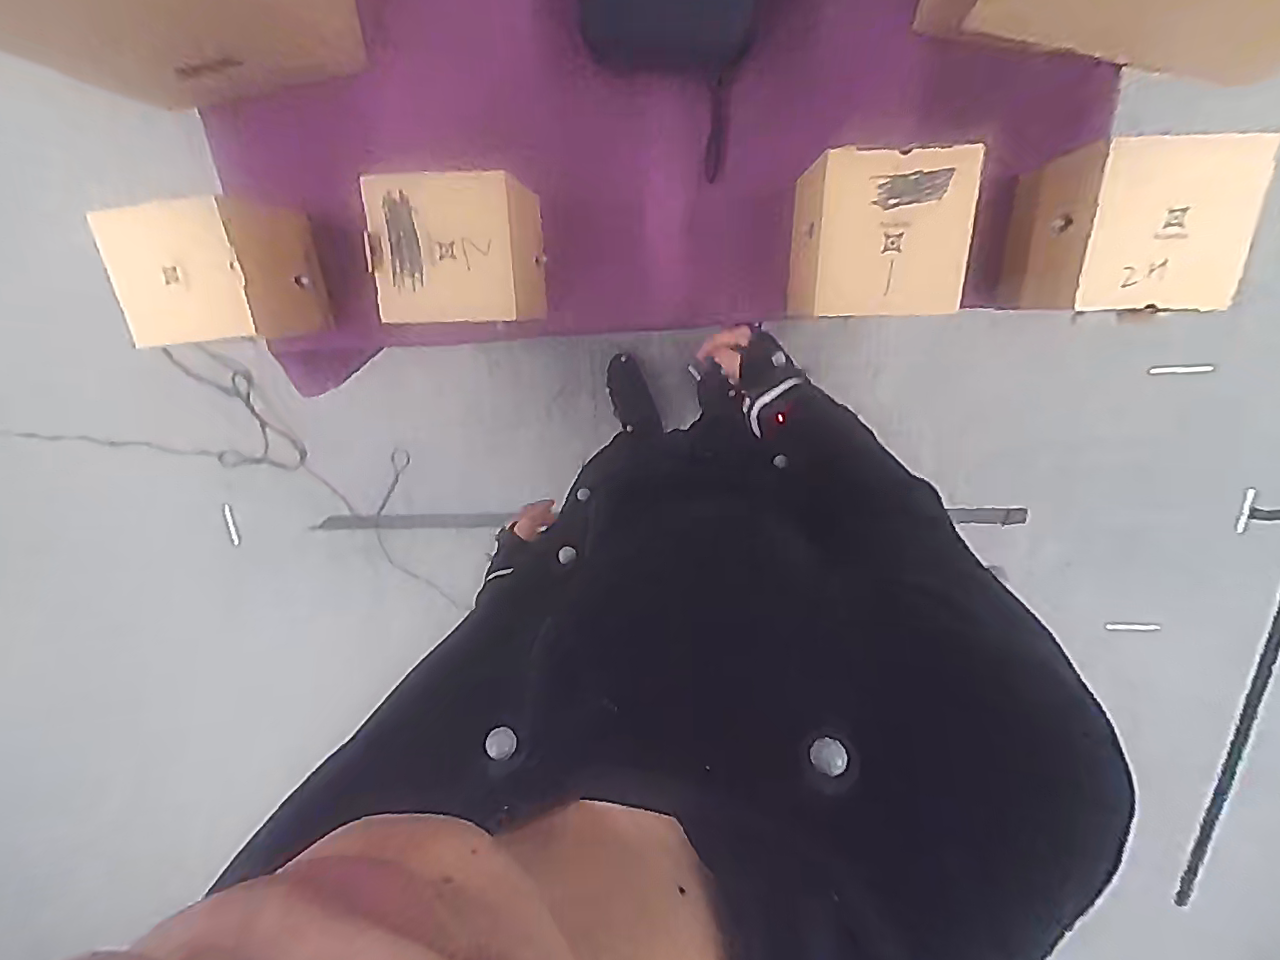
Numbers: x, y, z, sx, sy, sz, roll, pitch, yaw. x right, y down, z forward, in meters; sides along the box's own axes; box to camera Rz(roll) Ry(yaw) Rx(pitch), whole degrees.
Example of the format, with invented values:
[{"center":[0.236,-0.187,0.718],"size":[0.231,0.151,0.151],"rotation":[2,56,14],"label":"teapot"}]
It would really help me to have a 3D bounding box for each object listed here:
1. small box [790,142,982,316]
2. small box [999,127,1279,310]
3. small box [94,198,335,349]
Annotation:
[{"center":[0.288,-0.299,0.677],"size":[0.168,0.176,0.179],"rotation":[0,108,5],"label":"small box"},{"center":[0.572,-0.299,0.652],"size":[0.168,0.176,0.179],"rotation":[1,108,5],"label":"small box"},{"center":[-0.573,-0.278,0.754],"size":[0.179,0.176,0.168],"rotation":[-6,107,5],"label":"small box"}]
